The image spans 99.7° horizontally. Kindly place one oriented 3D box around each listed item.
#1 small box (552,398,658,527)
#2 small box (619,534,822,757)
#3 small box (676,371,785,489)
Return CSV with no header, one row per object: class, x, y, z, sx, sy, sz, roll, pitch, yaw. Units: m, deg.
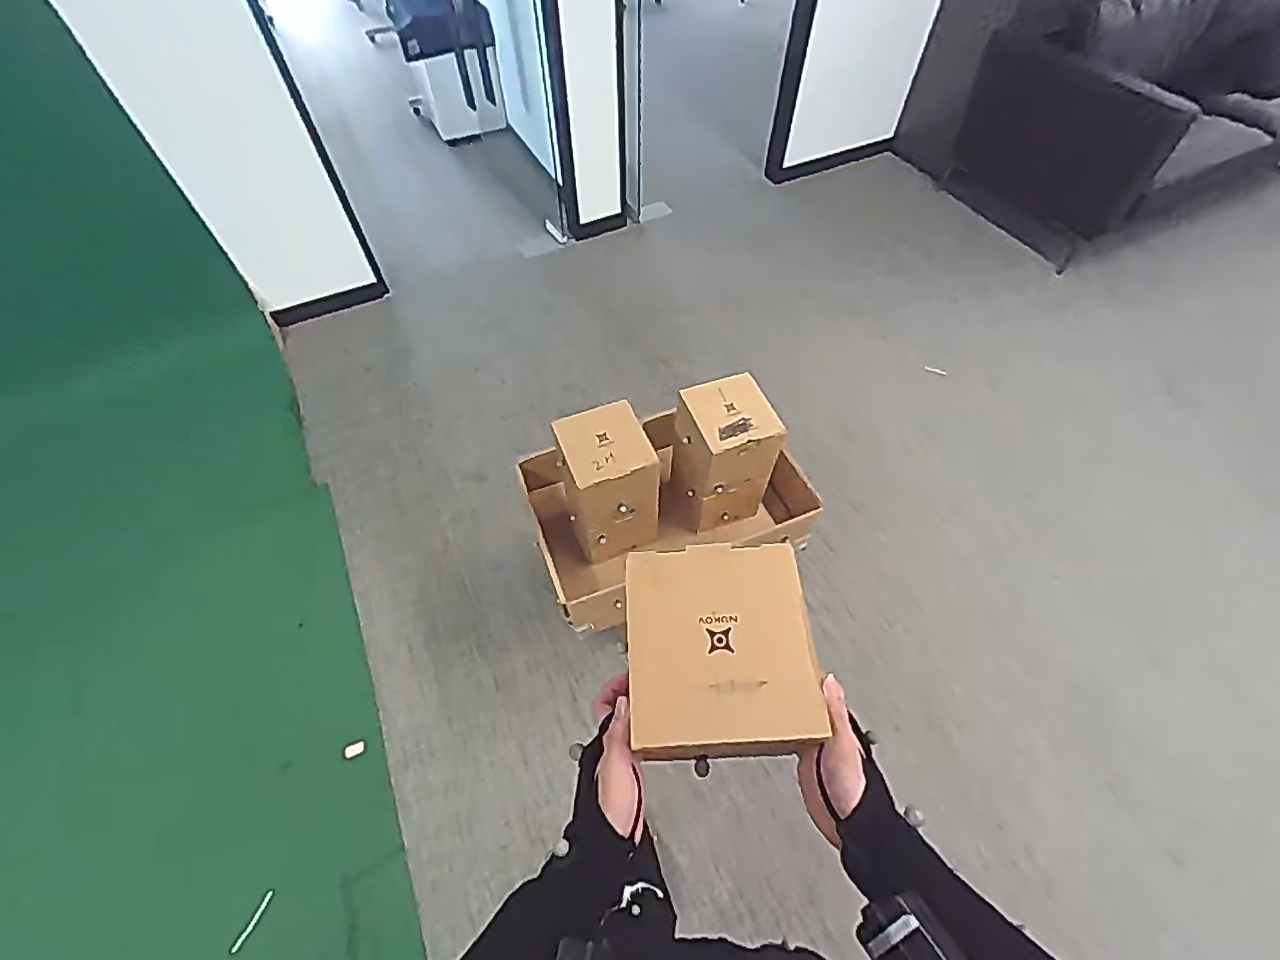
small box,-0.072,-0.033,1.111,0.168,0.176,0.179,-19,58,-12
small box,0.065,0.171,0.543,0.168,0.176,0.179,-3,58,1
small box,0.183,-0.098,1.157,0.168,0.176,0.179,-16,57,-11
